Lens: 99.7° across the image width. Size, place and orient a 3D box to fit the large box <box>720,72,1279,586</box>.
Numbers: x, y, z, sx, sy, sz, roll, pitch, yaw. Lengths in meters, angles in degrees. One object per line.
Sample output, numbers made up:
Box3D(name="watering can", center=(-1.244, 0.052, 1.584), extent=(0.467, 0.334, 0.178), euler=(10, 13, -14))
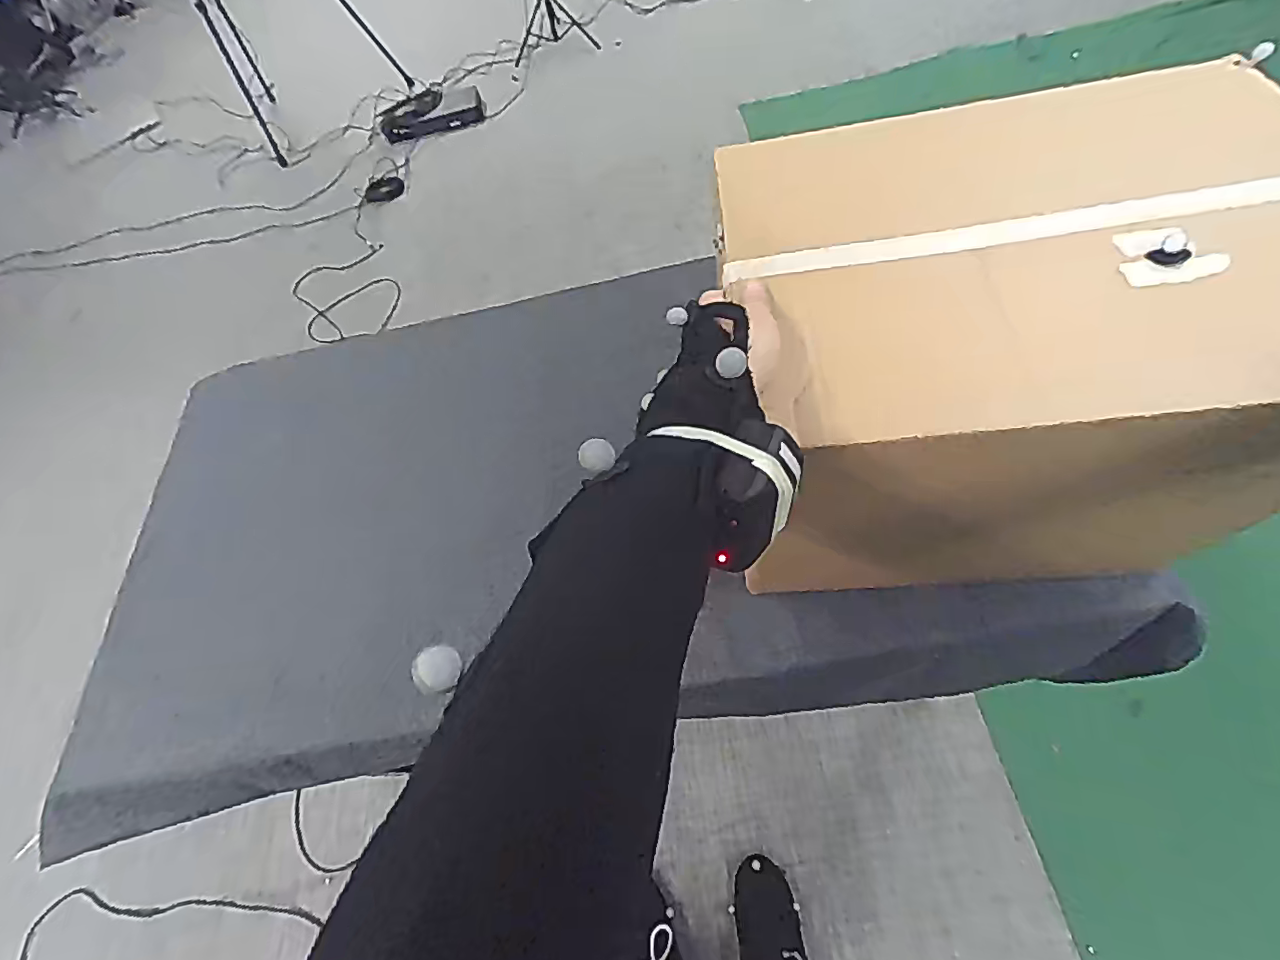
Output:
Box3D(name="large box", center=(0.292, -0.102, 0.509), extent=(0.408, 0.320, 0.320), euler=(-5, 62, 7))
